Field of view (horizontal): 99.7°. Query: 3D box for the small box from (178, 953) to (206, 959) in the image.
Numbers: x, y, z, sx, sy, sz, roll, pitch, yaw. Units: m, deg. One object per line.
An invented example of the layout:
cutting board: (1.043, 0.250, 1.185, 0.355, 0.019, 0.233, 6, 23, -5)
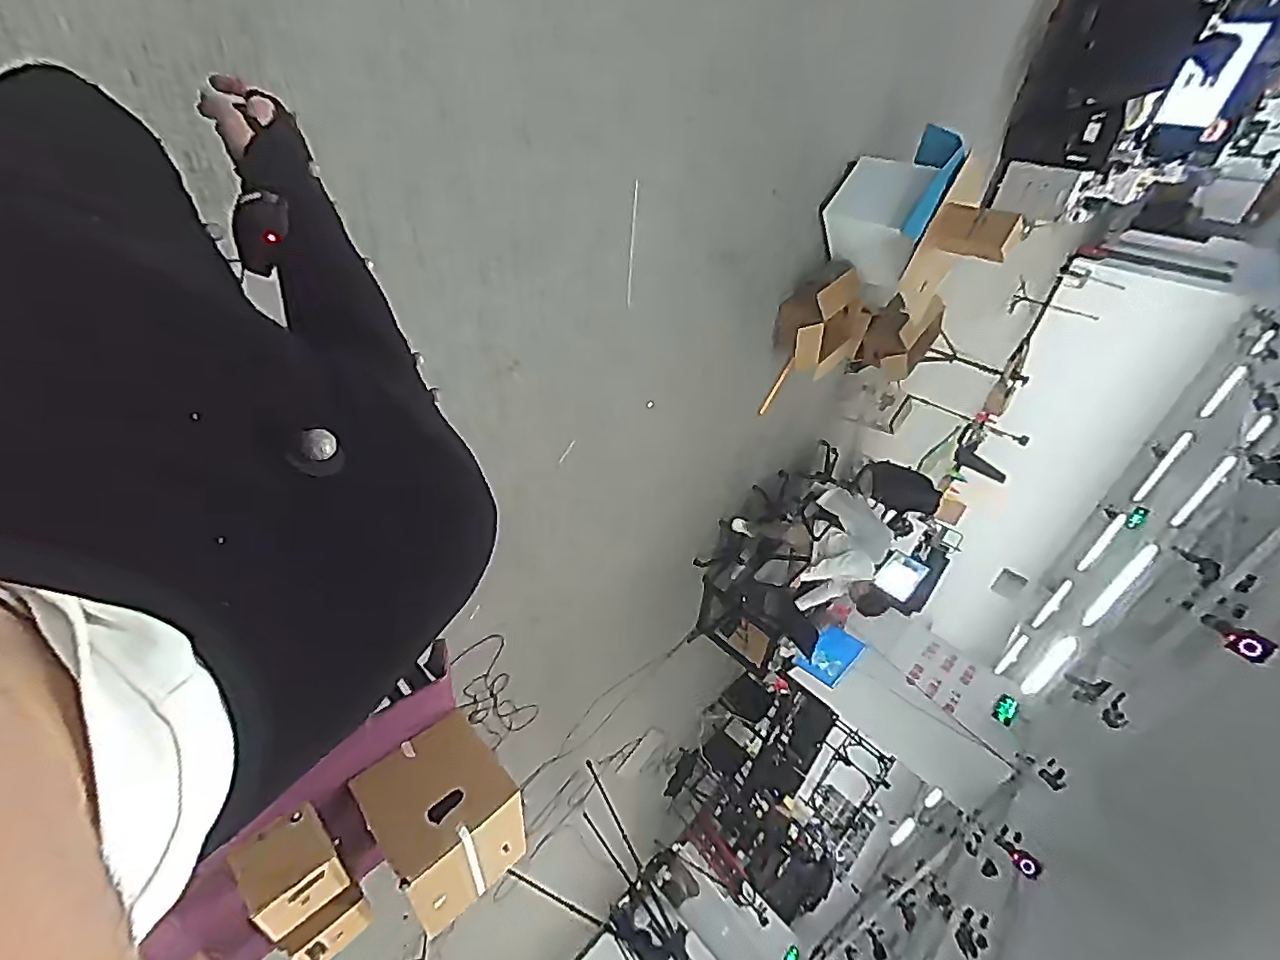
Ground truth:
small box: (-1.049, 1.225, 1.215, 0.168, 0.176, 0.179, -28, 138, -39)
